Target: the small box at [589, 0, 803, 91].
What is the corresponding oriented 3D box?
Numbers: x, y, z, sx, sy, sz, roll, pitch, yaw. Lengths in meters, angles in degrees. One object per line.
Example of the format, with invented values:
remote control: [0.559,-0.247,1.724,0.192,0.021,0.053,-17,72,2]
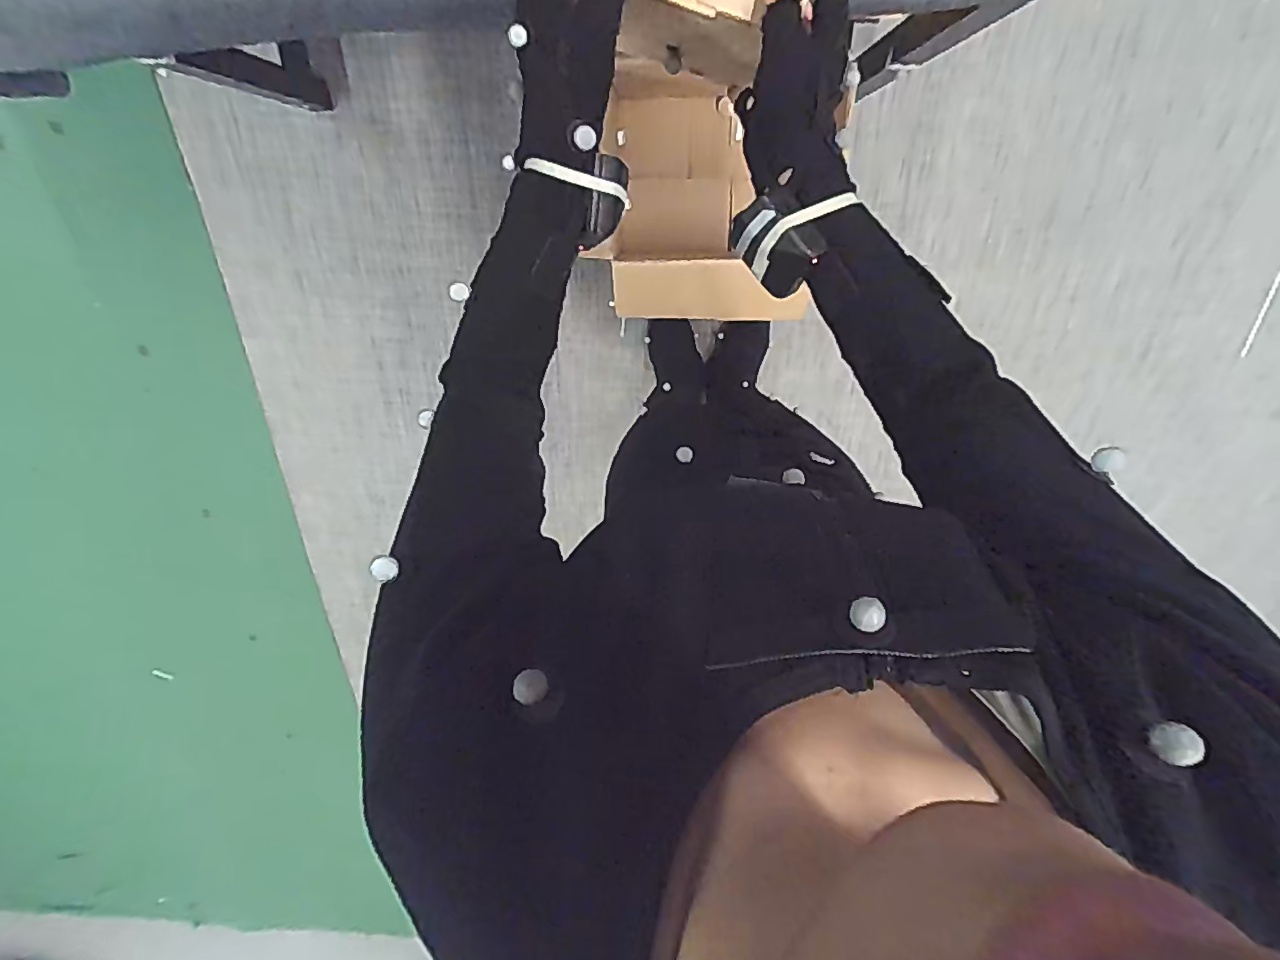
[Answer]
small box: [0.053,-0.440,0.412,0.168,0.176,0.179,16,113,-6]
